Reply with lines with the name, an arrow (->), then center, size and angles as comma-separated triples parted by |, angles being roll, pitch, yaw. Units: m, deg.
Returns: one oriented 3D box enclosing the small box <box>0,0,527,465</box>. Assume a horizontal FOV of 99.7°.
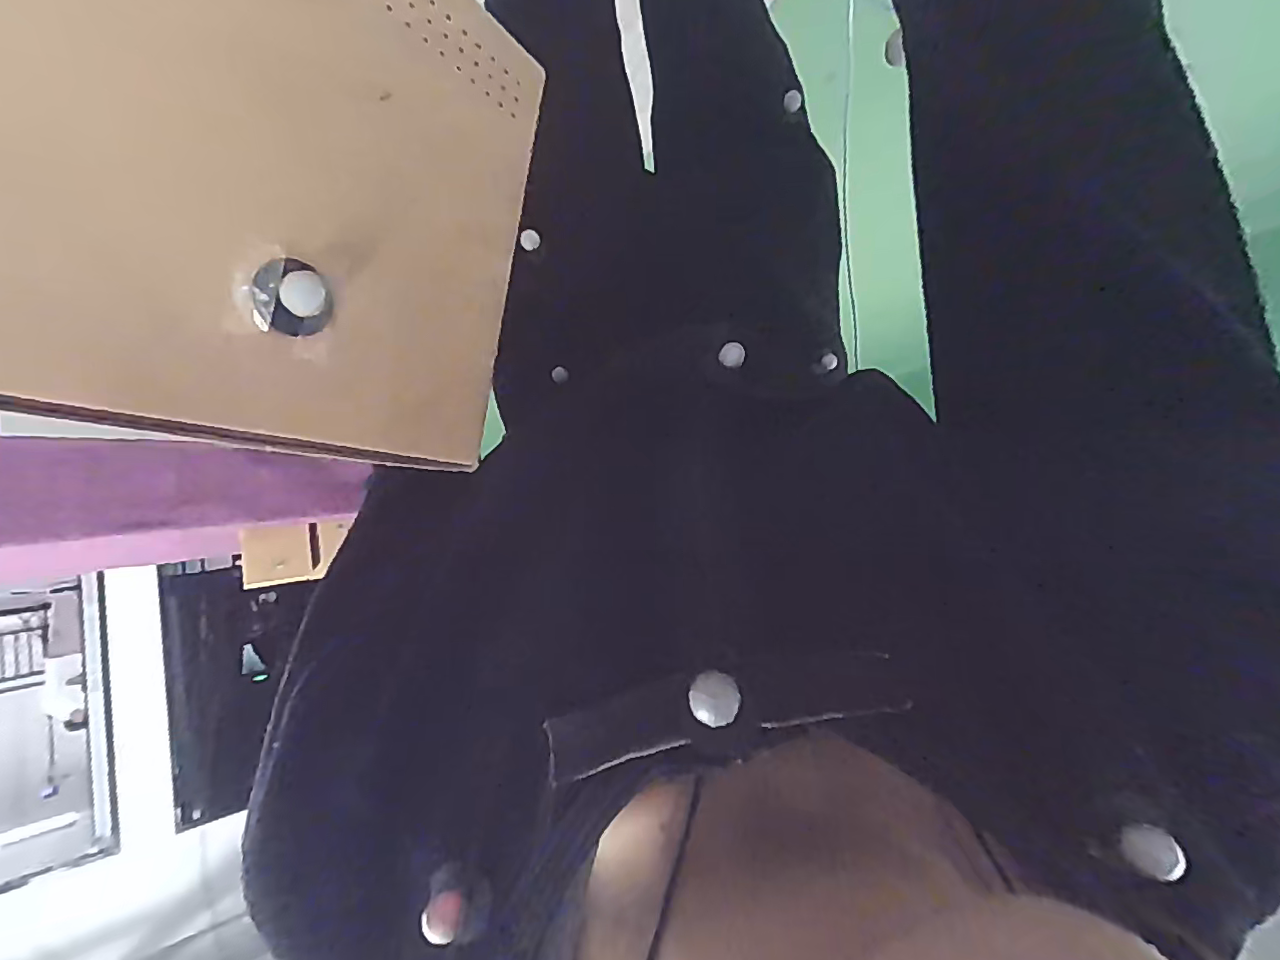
small box -> -0.162, -0.108, 0.185 | 0.168, 0.176, 0.179 | 9, 178, 34
